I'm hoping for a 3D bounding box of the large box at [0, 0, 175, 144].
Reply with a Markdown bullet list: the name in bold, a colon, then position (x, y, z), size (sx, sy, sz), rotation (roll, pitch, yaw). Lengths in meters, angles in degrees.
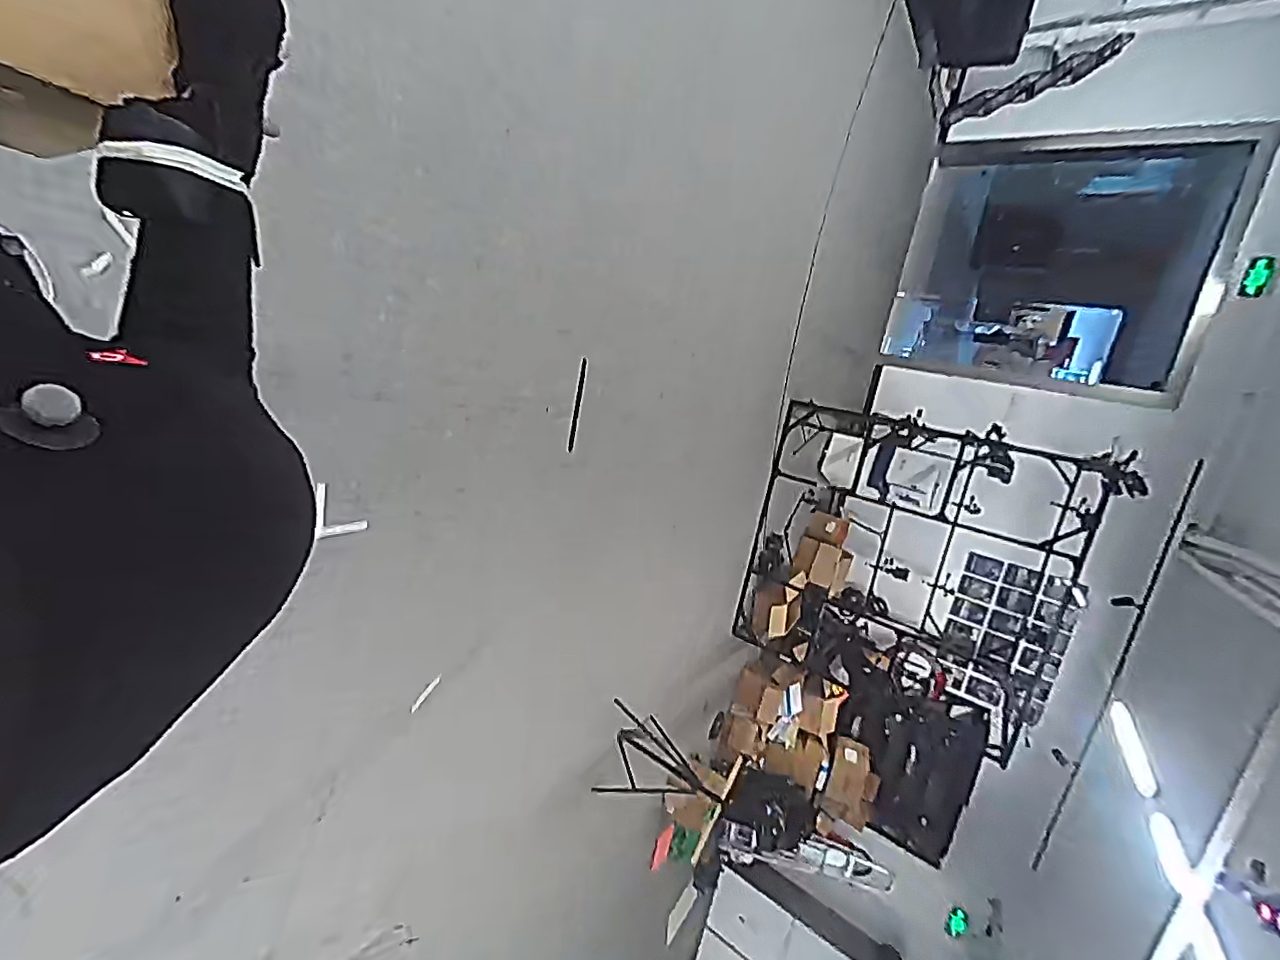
- **large box**: position (-0.536, -0.429, 0.266), size (0.408, 0.320, 0.320), rotation (-4, 108, -59)
